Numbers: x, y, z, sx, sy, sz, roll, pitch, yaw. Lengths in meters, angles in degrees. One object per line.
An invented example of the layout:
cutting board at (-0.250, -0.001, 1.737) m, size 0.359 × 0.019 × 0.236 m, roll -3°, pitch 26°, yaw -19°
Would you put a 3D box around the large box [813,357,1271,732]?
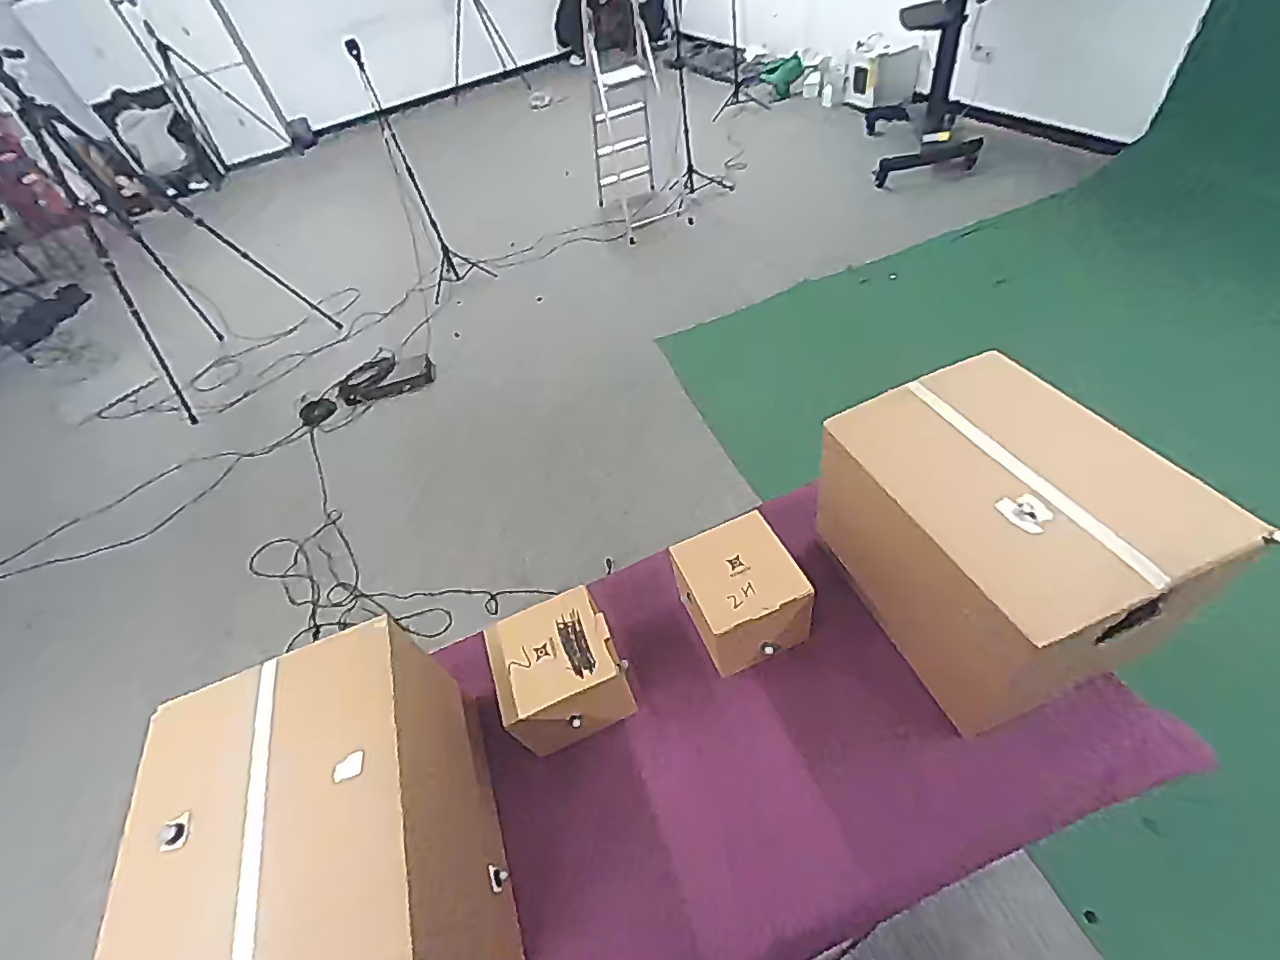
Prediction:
large box at (0.511, 0.086, 0.816) m, size 0.320 × 0.320 × 0.408 m, roll -23°, pitch 48°, yaw -5°
